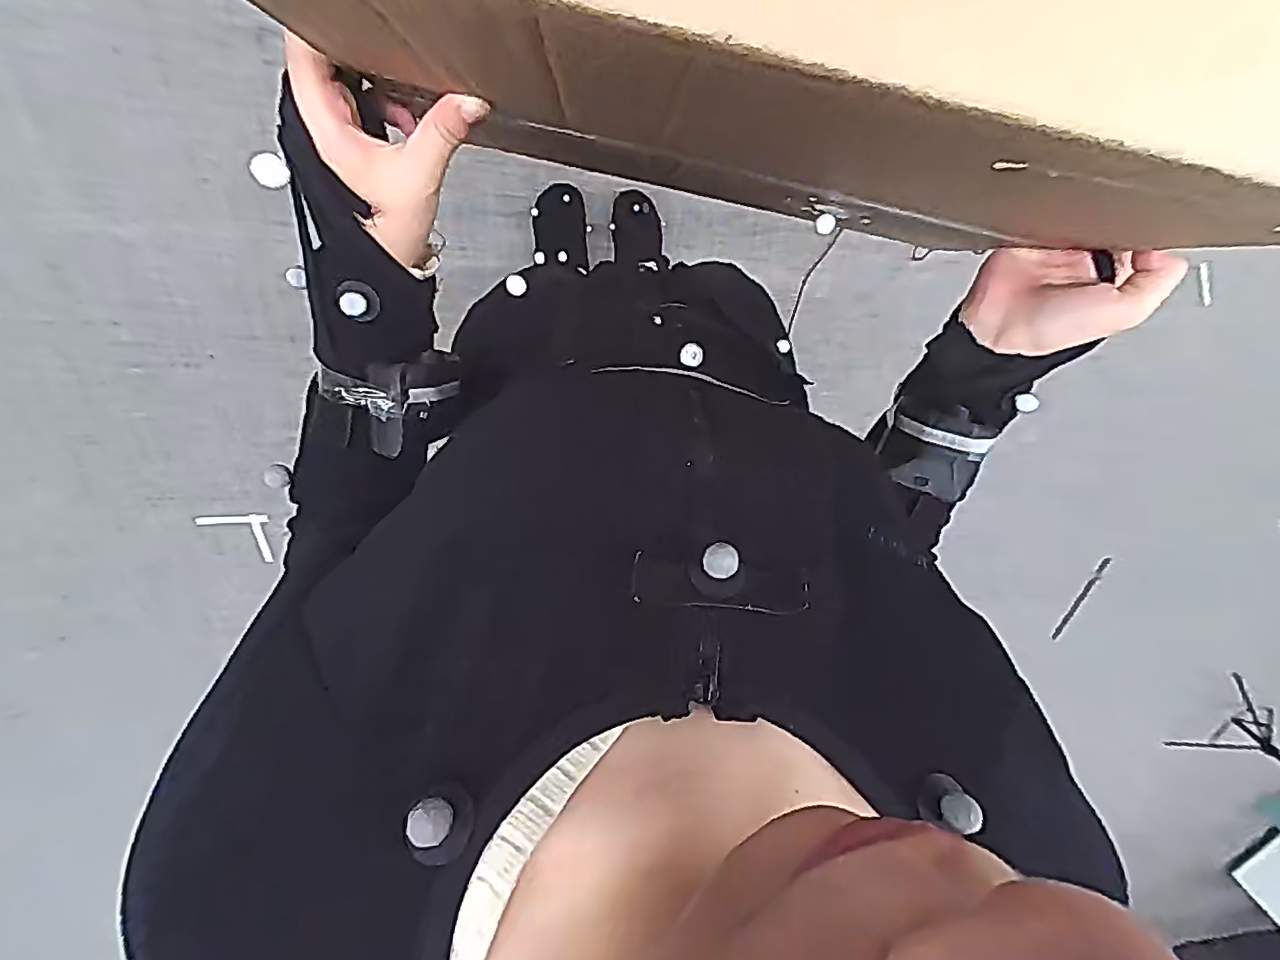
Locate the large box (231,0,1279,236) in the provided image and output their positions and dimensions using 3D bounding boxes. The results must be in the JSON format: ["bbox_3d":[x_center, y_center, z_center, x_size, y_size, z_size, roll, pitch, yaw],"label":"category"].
[{"bbox_3d":[0.074,-0.311,0.229,0.408,0.320,0.320,8,114,-6],"label":"large box"}]
